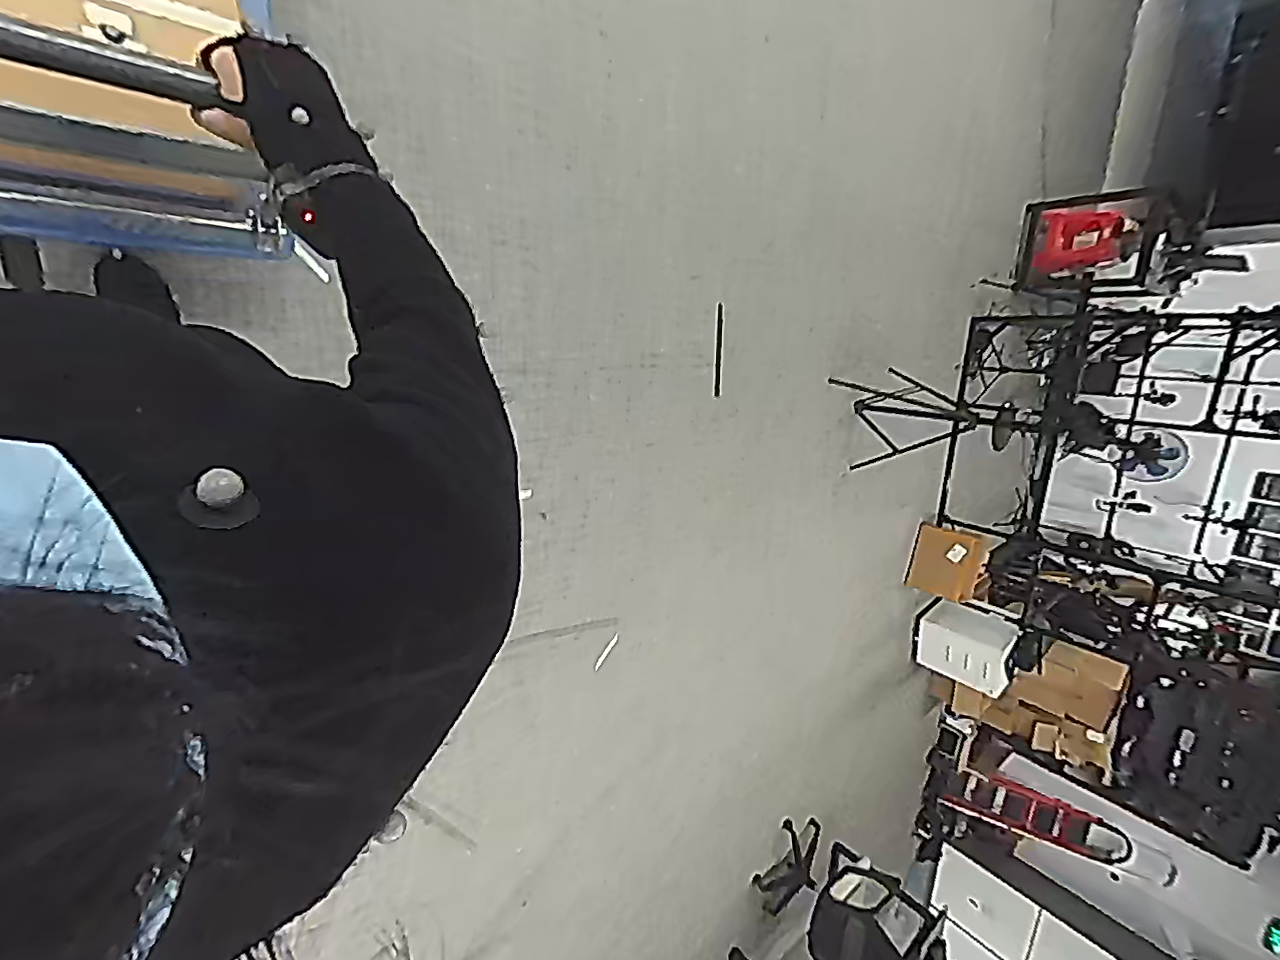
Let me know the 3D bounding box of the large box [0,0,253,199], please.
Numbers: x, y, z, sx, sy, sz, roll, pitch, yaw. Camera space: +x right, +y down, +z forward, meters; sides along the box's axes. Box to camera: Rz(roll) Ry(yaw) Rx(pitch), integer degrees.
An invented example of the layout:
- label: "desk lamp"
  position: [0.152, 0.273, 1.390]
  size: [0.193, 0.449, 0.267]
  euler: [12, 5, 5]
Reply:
- label: "large box"
  position: [-0.794, -0.597, 0.712]
  size: [0.408, 0.320, 0.320]
  euler: [-10, 109, -40]
